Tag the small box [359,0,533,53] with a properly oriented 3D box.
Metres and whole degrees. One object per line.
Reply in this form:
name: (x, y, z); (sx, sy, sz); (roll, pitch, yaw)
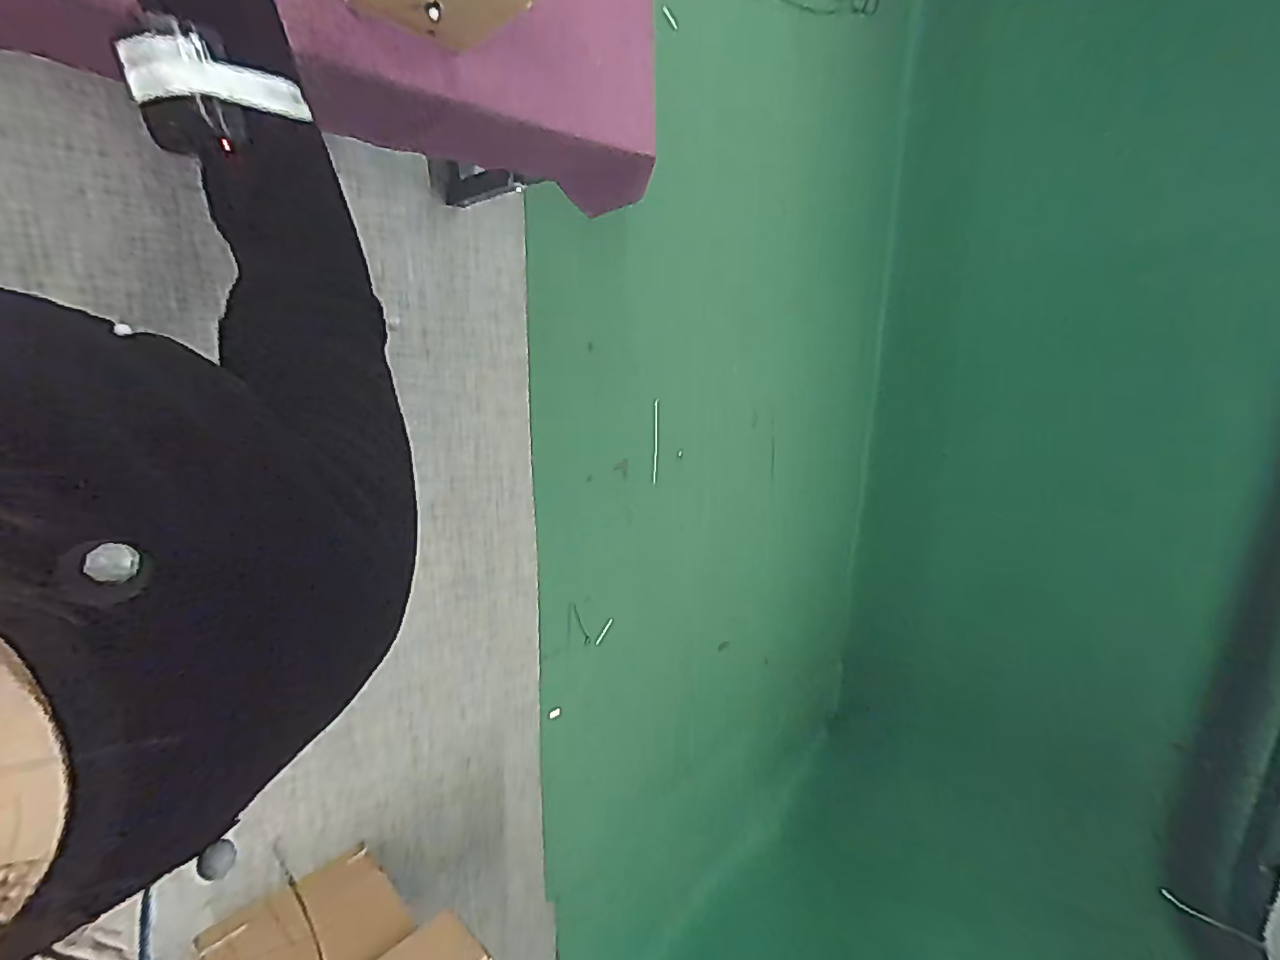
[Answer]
small box: (-0.247, -0.661, 0.648); (0.168, 0.176, 0.179); (-15, 110, -45)
